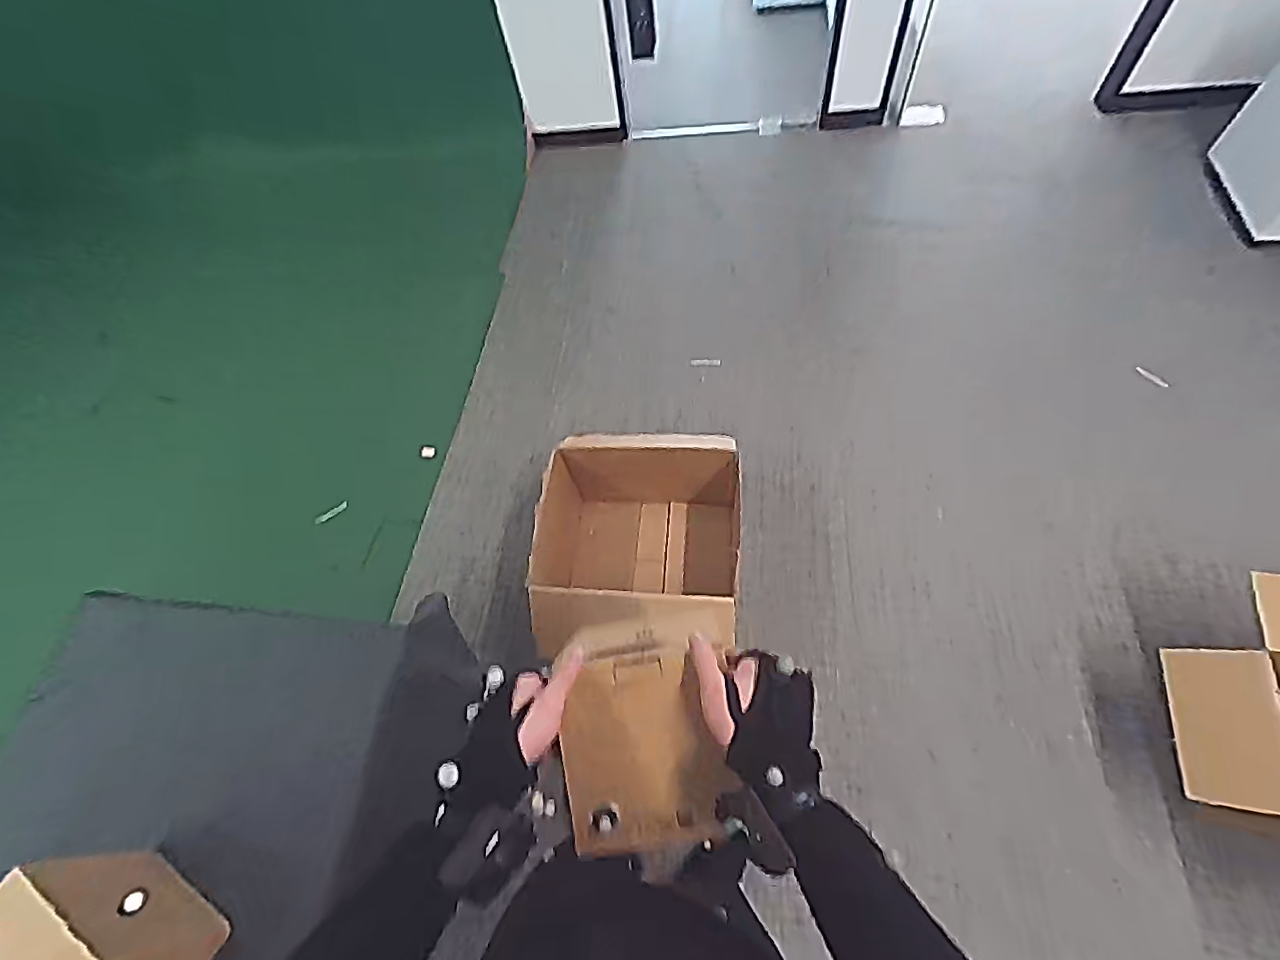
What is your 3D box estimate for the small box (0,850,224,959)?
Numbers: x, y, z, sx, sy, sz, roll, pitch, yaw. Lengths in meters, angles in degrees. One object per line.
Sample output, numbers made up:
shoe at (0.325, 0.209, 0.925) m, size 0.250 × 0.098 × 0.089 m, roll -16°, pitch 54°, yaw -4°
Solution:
small box at (-0.627, 0.543, 0.598) m, size 0.179 × 0.176 × 0.168 m, roll 23°, pitch 66°, yaw 18°
